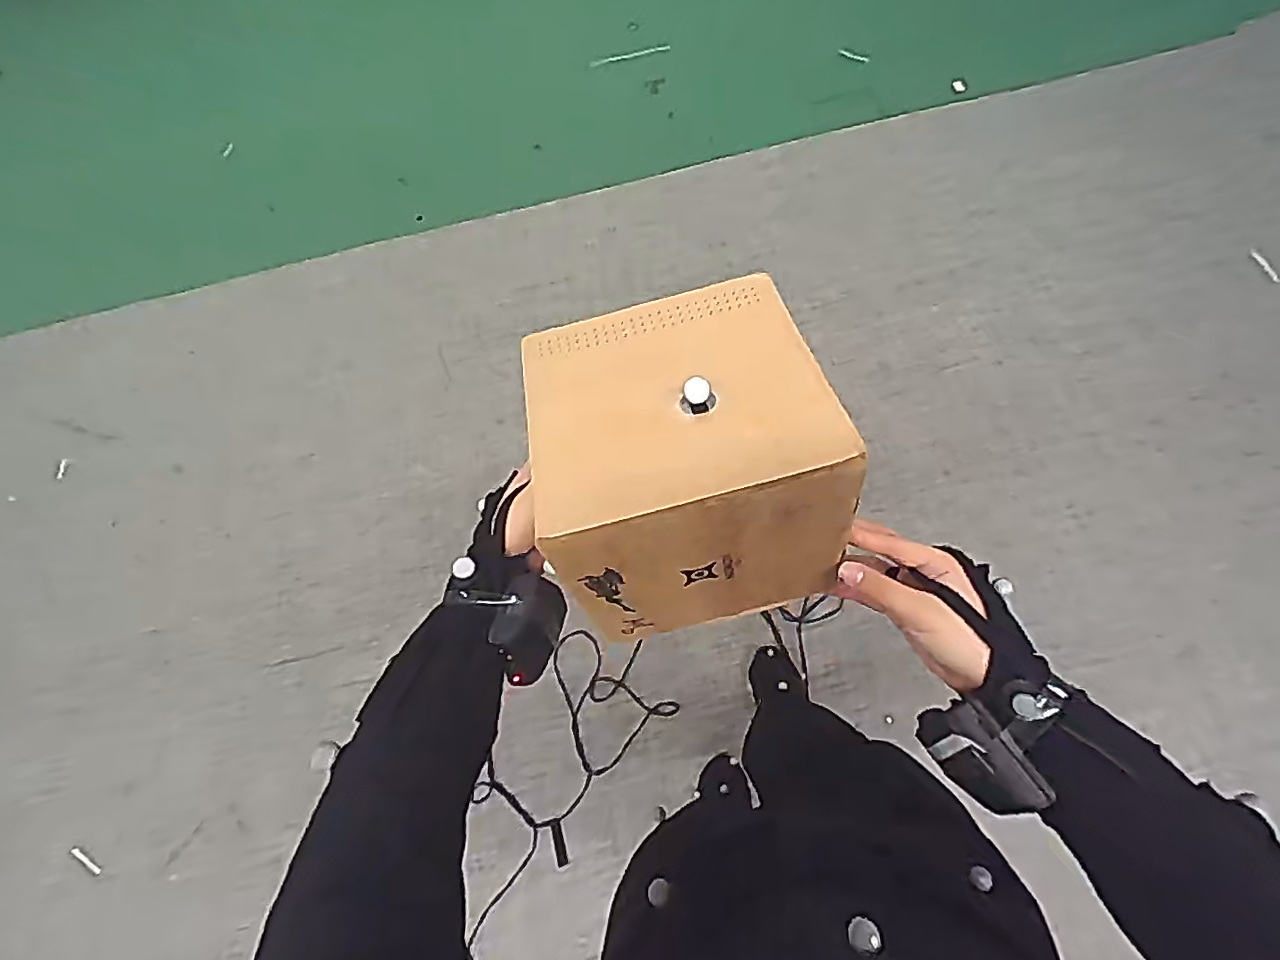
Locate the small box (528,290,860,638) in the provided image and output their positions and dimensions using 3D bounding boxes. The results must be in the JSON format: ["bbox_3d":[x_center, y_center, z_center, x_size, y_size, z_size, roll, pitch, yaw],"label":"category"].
[{"bbox_3d":[0.030,-0.010,0.395,0.179,0.168,0.176,-15,53,2],"label":"small box"}]
